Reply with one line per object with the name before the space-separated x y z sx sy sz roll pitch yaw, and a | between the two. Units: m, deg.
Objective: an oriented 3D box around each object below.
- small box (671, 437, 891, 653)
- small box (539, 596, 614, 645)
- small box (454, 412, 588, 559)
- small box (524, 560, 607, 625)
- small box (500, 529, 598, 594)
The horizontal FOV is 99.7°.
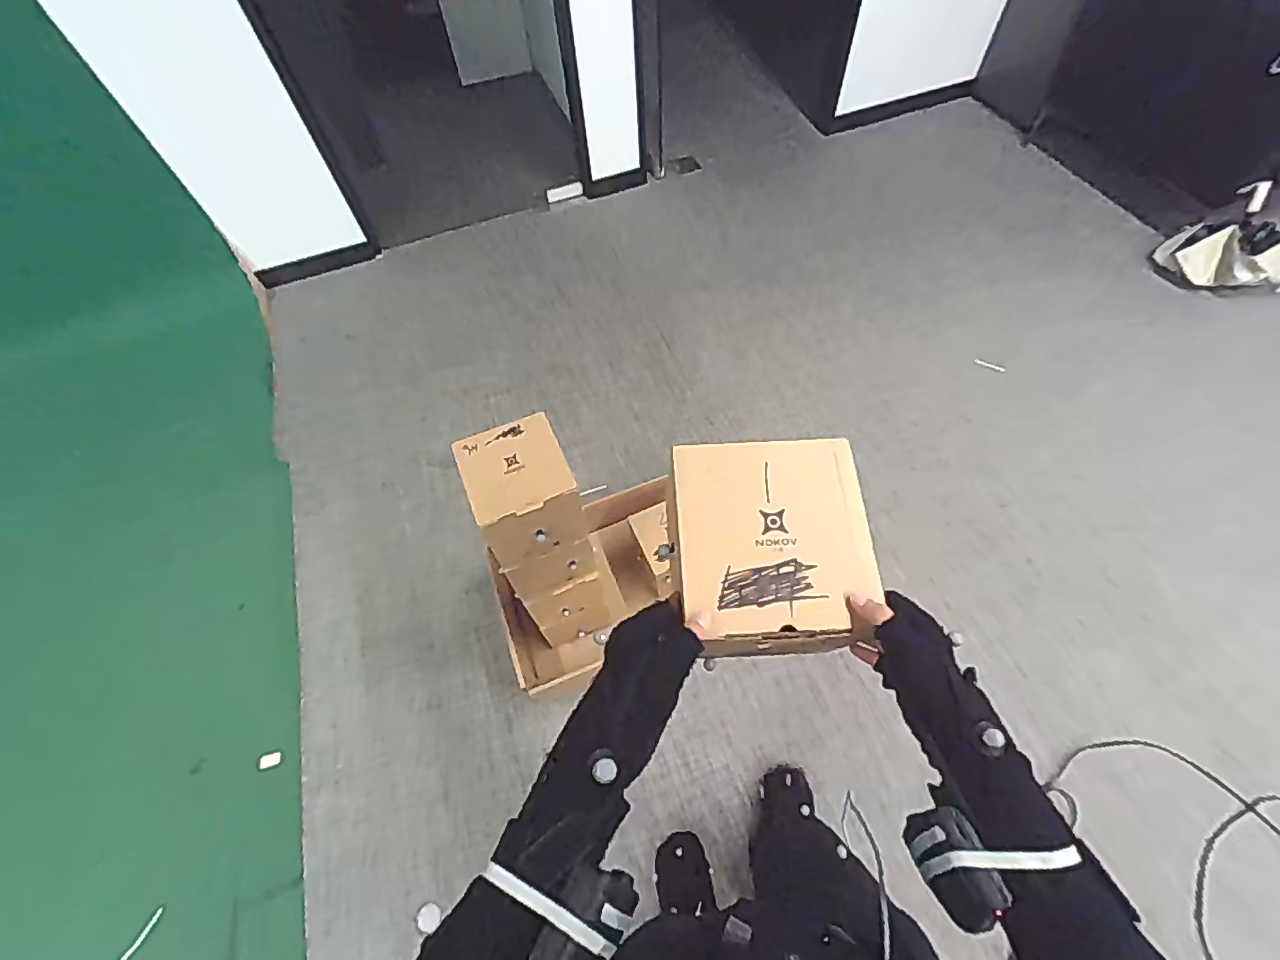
small box | 0.119 0.073 0.531 0.168 0.176 0.179 1 67 -1
small box | -0.173 0.284 1.346 0.168 0.176 0.179 -19 60 -8
small box | -0.198 0.019 0.935 0.168 0.176 0.179 -21 61 -12
small box | -0.181 0.198 1.208 0.168 0.176 0.179 -20 60 -10
small box | -0.192 0.108 1.072 0.168 0.176 0.179 -21 60 -11
